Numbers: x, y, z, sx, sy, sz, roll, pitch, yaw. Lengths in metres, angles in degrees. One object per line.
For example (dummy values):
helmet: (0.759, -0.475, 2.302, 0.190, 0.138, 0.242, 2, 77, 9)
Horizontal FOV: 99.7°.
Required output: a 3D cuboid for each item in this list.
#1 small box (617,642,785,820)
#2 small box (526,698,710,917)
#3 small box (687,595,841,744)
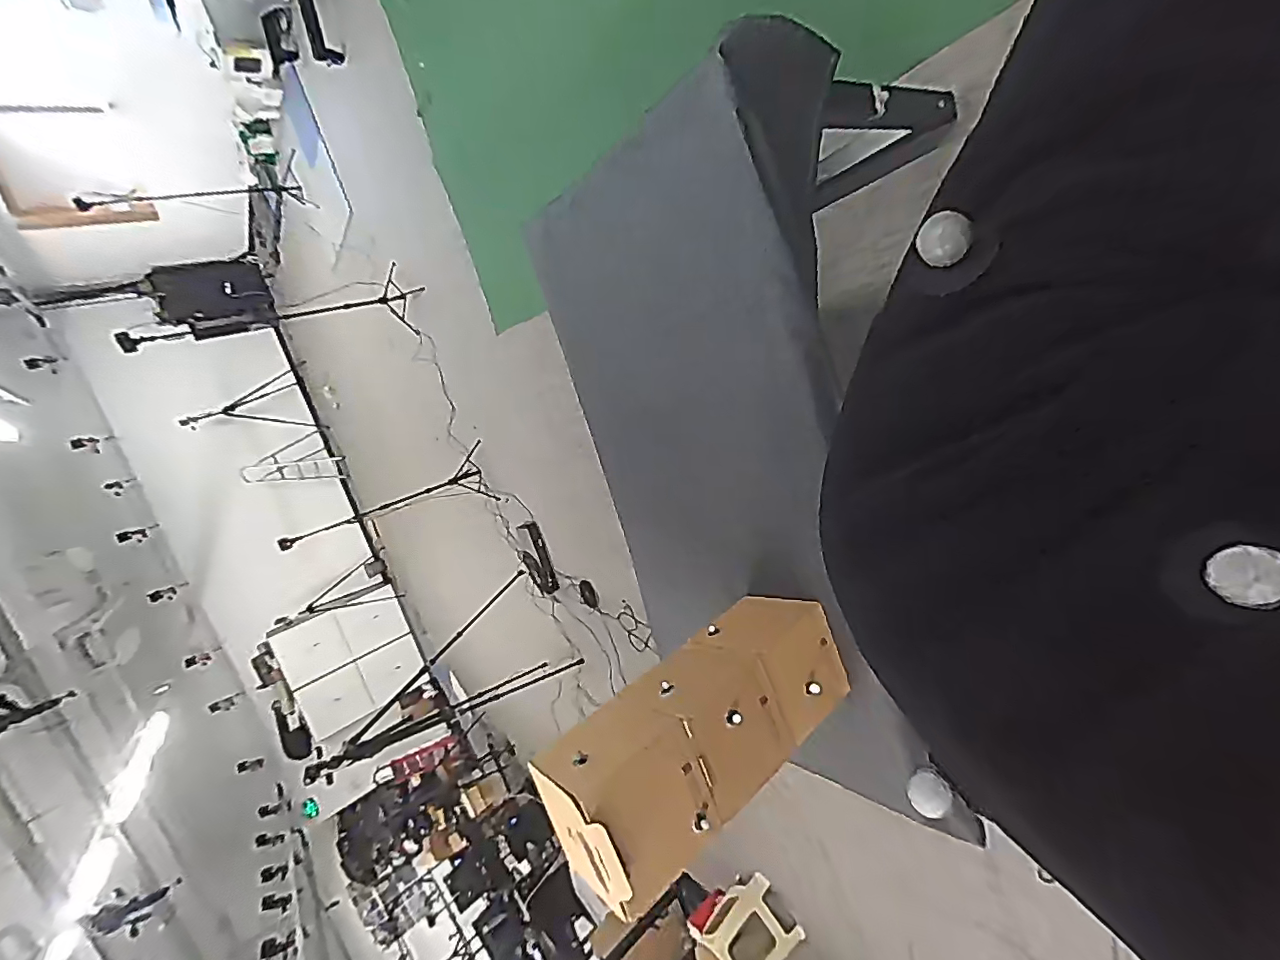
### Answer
small box: (0.099, 0.369, 0.835, 0.179, 0.176, 0.168, -14, 99, 57)
small box: (-0.025, 0.426, 0.744, 0.179, 0.176, 0.168, -16, 96, 56)
small box: (0.219, 0.310, 0.928, 0.179, 0.176, 0.168, -12, 101, 55)
